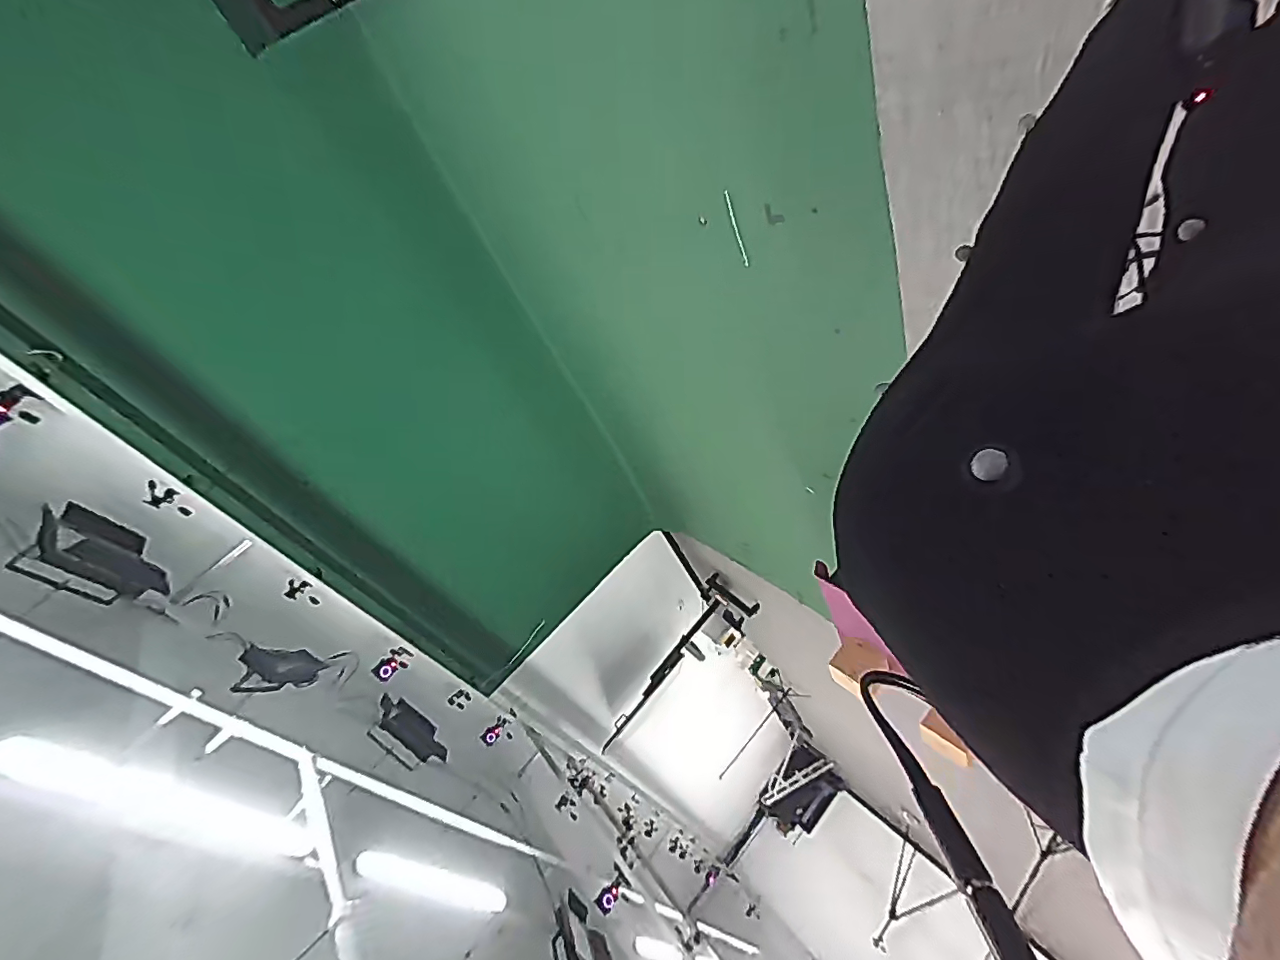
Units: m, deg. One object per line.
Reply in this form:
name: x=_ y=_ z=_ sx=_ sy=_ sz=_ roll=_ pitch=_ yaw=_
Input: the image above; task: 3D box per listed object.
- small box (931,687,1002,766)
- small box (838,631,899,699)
small box: x=1.198 y=0.898 z=1.980 sx=0.168 sy=0.176 sz=0.179 roll=27 pitch=156 yaw=47
small box: x=0.963 y=0.772 z=2.266 sx=0.168 sy=0.176 sz=0.179 roll=27 pitch=157 yaw=46
